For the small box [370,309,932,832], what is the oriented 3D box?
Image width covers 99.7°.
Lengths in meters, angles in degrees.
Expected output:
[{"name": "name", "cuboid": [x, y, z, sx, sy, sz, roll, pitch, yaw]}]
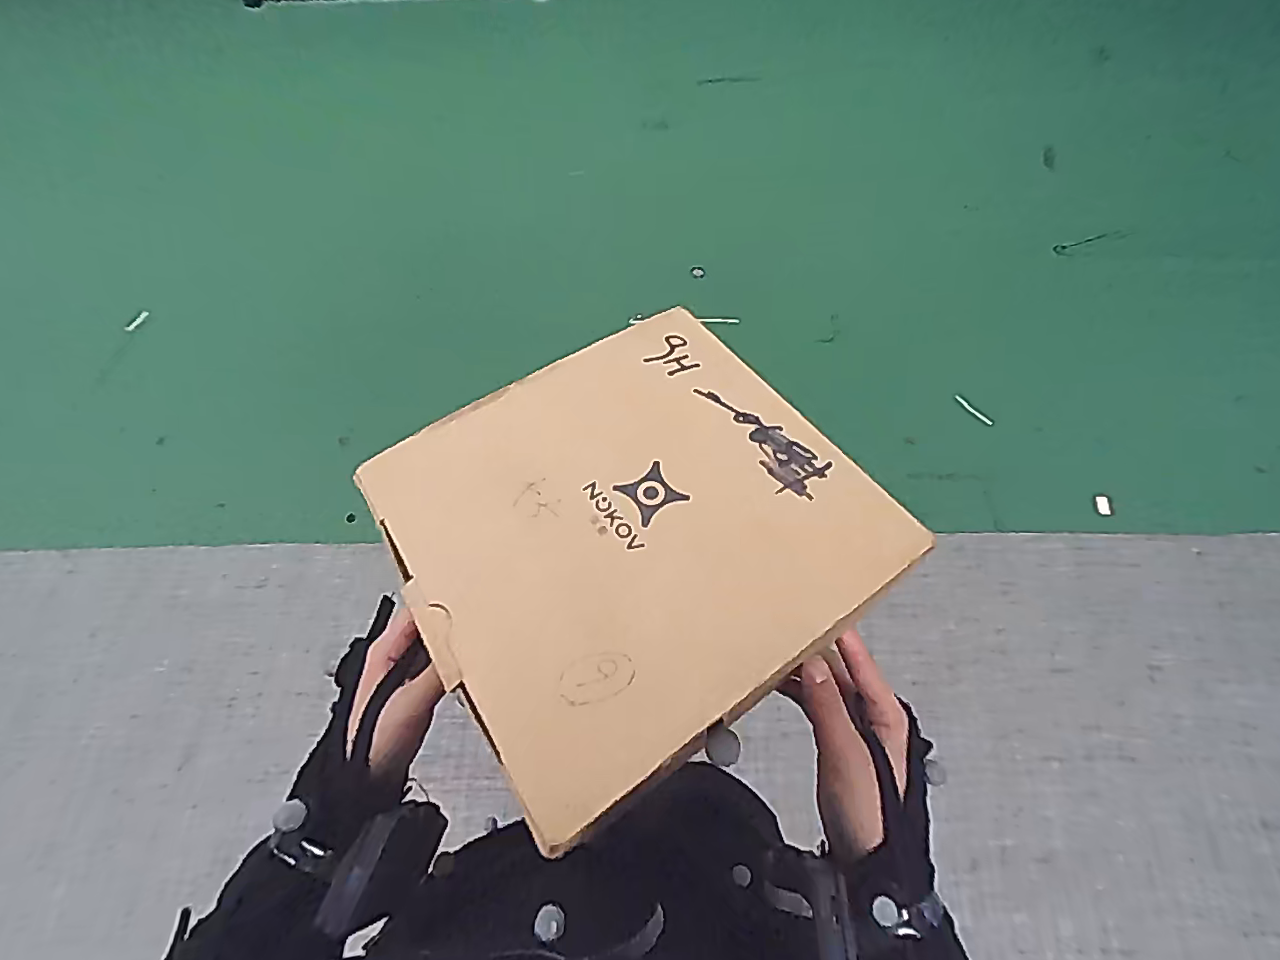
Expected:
[{"name": "small box", "cuboid": [0.001, 0.052, 0.287, 0.179, 0.176, 0.168, -31, 62, -16]}]
